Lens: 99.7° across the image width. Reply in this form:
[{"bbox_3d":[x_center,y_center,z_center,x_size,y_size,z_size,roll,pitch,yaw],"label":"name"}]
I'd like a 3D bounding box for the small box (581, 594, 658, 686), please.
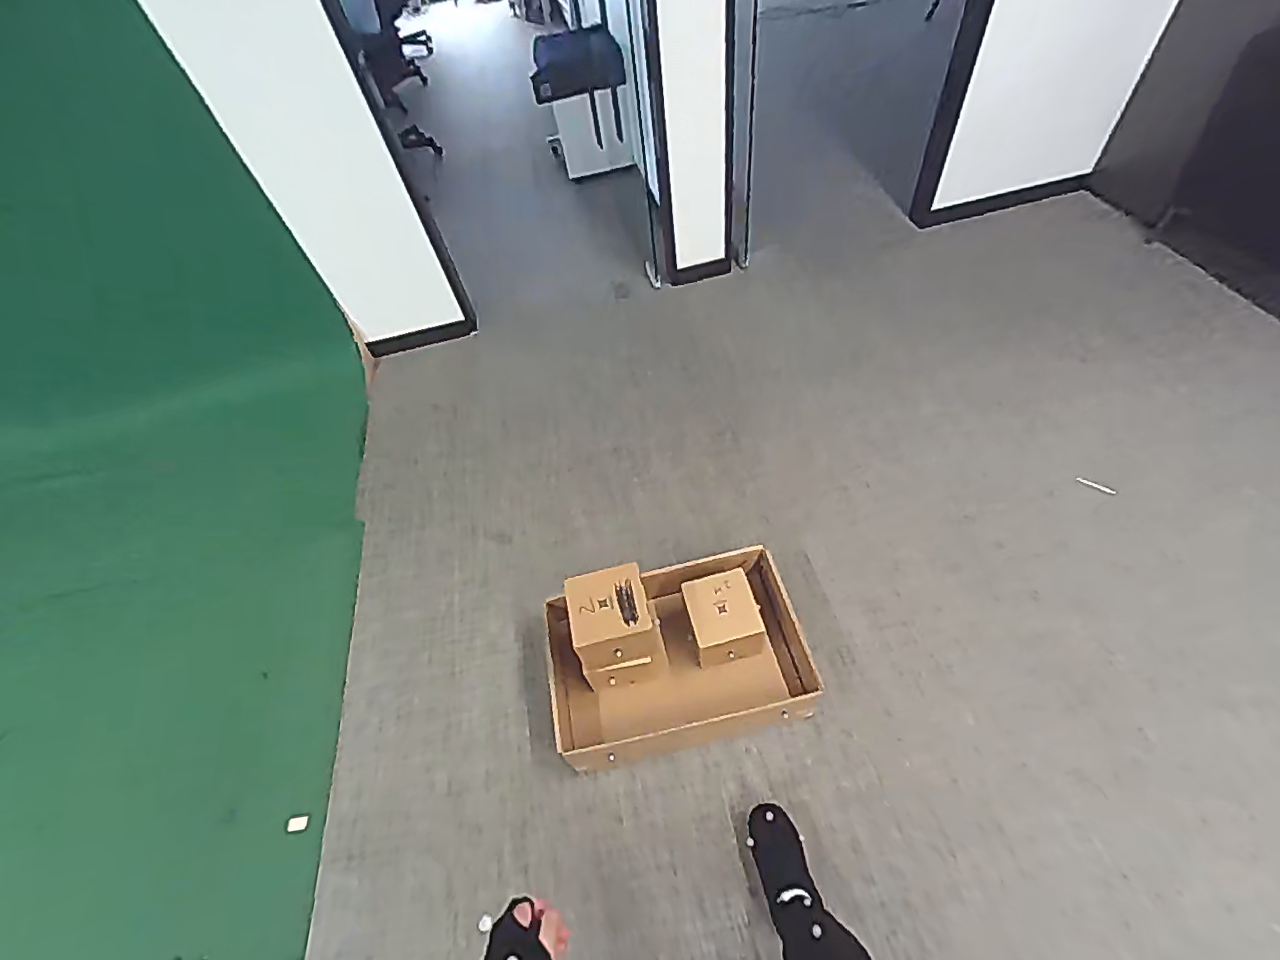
[{"bbox_3d":[-0.050,0.416,1.386,0.168,0.176,0.179,-10,53,0],"label":"small box"}]

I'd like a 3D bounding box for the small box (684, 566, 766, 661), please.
[{"bbox_3d":[0.217,0.351,1.388,0.168,0.176,0.179,-14,54,-1],"label":"small box"}]
